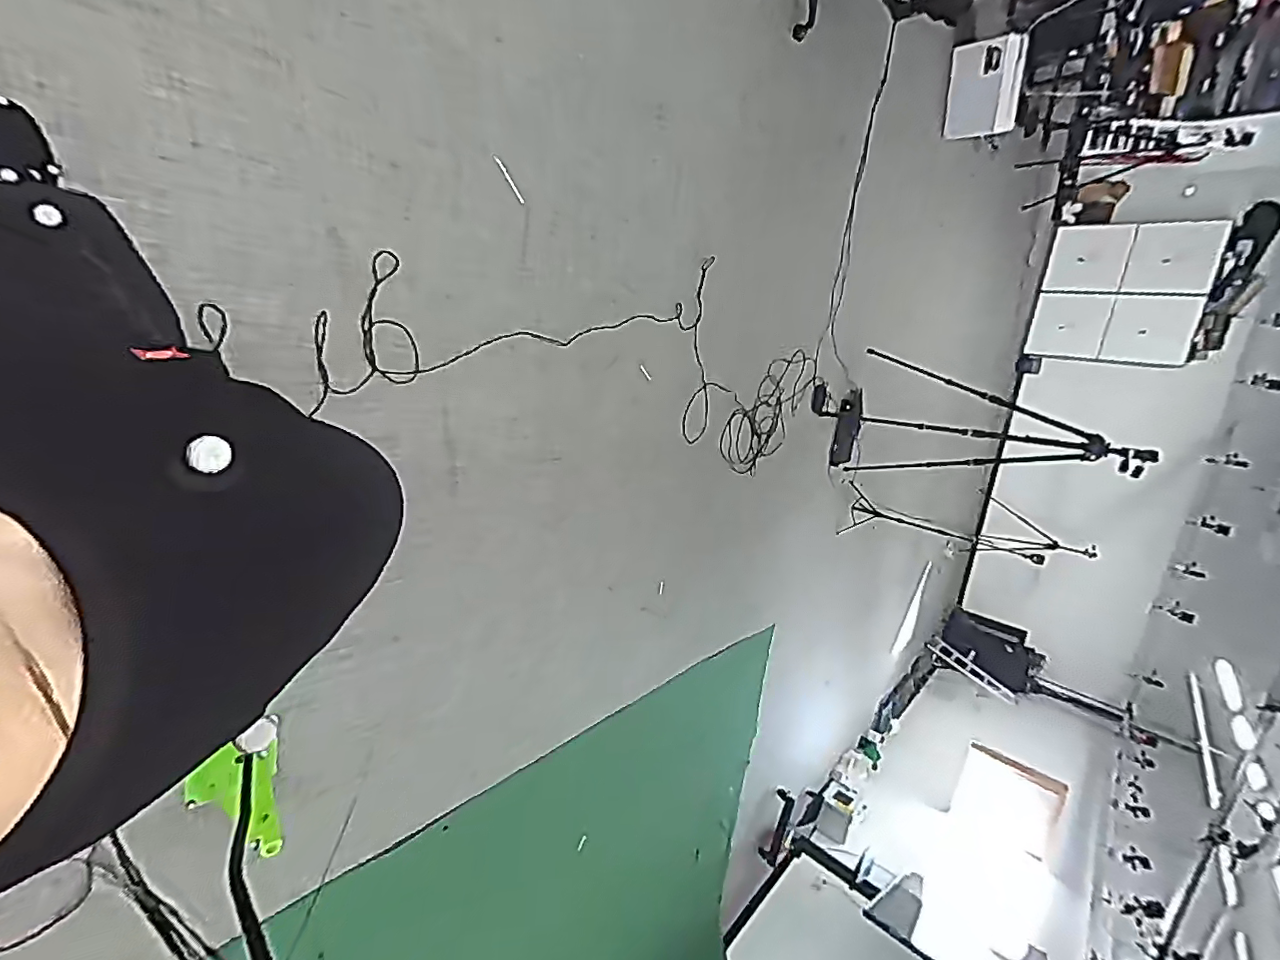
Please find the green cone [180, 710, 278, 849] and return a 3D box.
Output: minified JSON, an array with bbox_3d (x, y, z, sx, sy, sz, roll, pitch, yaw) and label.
[{"bbox_3d":[-0.956,0.765,1.318,0.200,0.368,0.202,-5,107,-48],"label":"green cone"}]
